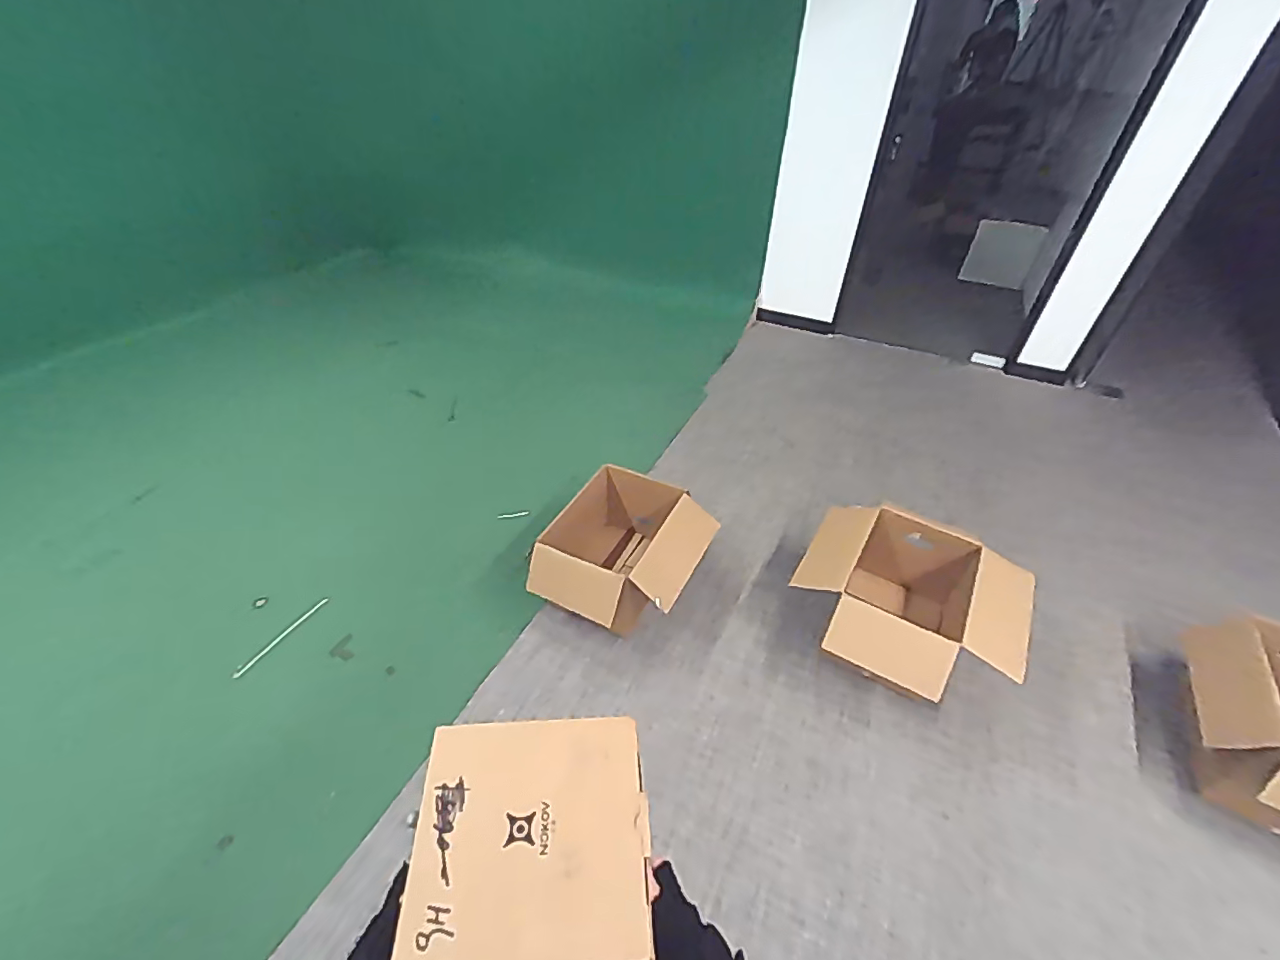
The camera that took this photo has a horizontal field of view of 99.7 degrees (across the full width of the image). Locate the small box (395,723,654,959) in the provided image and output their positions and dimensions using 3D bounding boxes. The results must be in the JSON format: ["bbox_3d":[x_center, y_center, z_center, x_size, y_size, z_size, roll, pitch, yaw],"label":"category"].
[{"bbox_3d":[-0.088,0.329,0.473,0.179,0.176,0.168,1,43,-6],"label":"small box"}]
